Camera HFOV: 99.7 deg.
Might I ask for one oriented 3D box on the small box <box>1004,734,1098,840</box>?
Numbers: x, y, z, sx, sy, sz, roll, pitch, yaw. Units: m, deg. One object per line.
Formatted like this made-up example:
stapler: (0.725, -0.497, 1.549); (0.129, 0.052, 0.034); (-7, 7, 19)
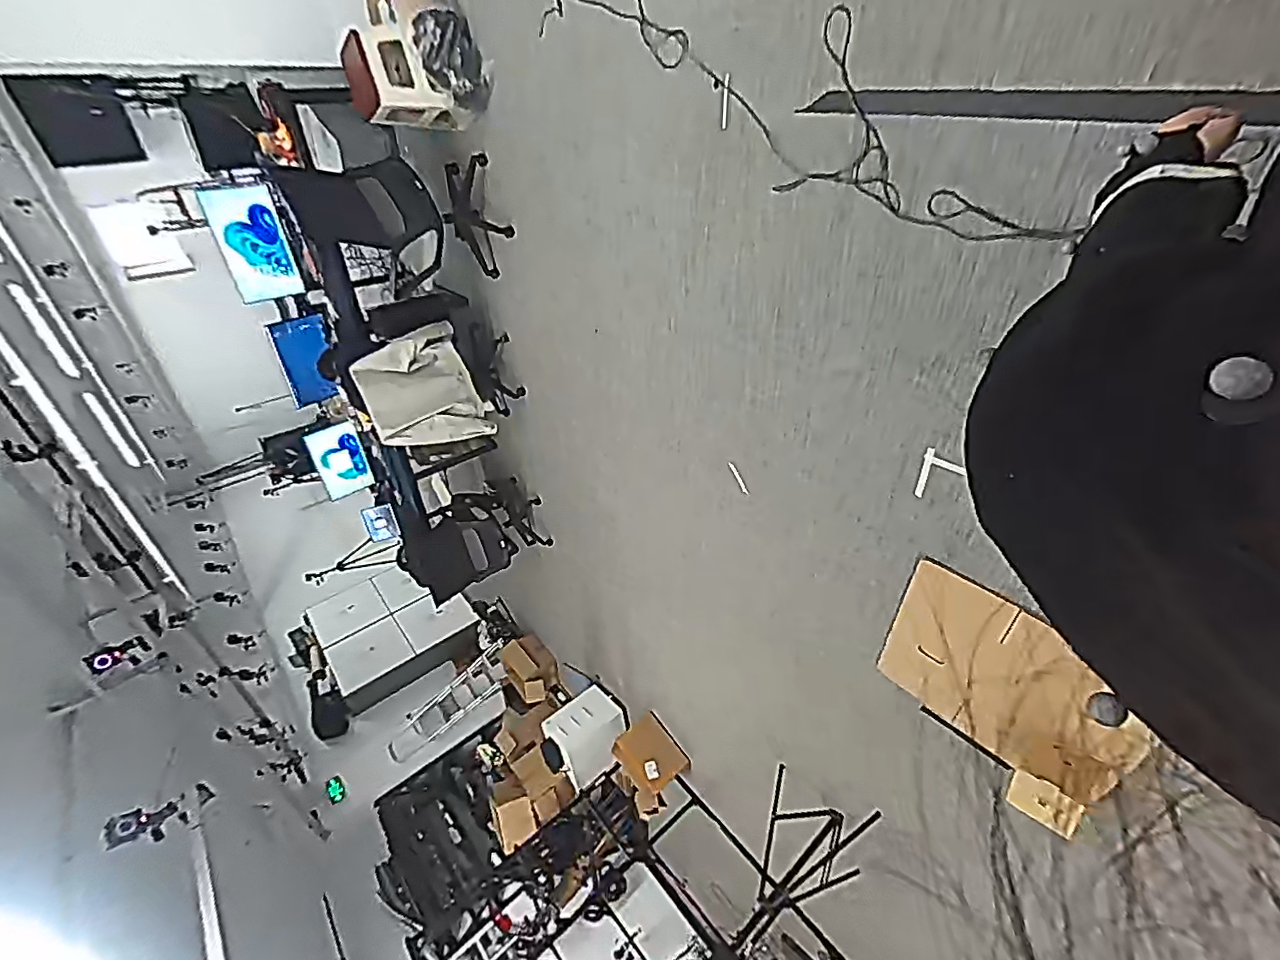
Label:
small box: (1.220, 0.904, 1.605); (0.168, 0.176, 0.179); (24, 132, 44)
